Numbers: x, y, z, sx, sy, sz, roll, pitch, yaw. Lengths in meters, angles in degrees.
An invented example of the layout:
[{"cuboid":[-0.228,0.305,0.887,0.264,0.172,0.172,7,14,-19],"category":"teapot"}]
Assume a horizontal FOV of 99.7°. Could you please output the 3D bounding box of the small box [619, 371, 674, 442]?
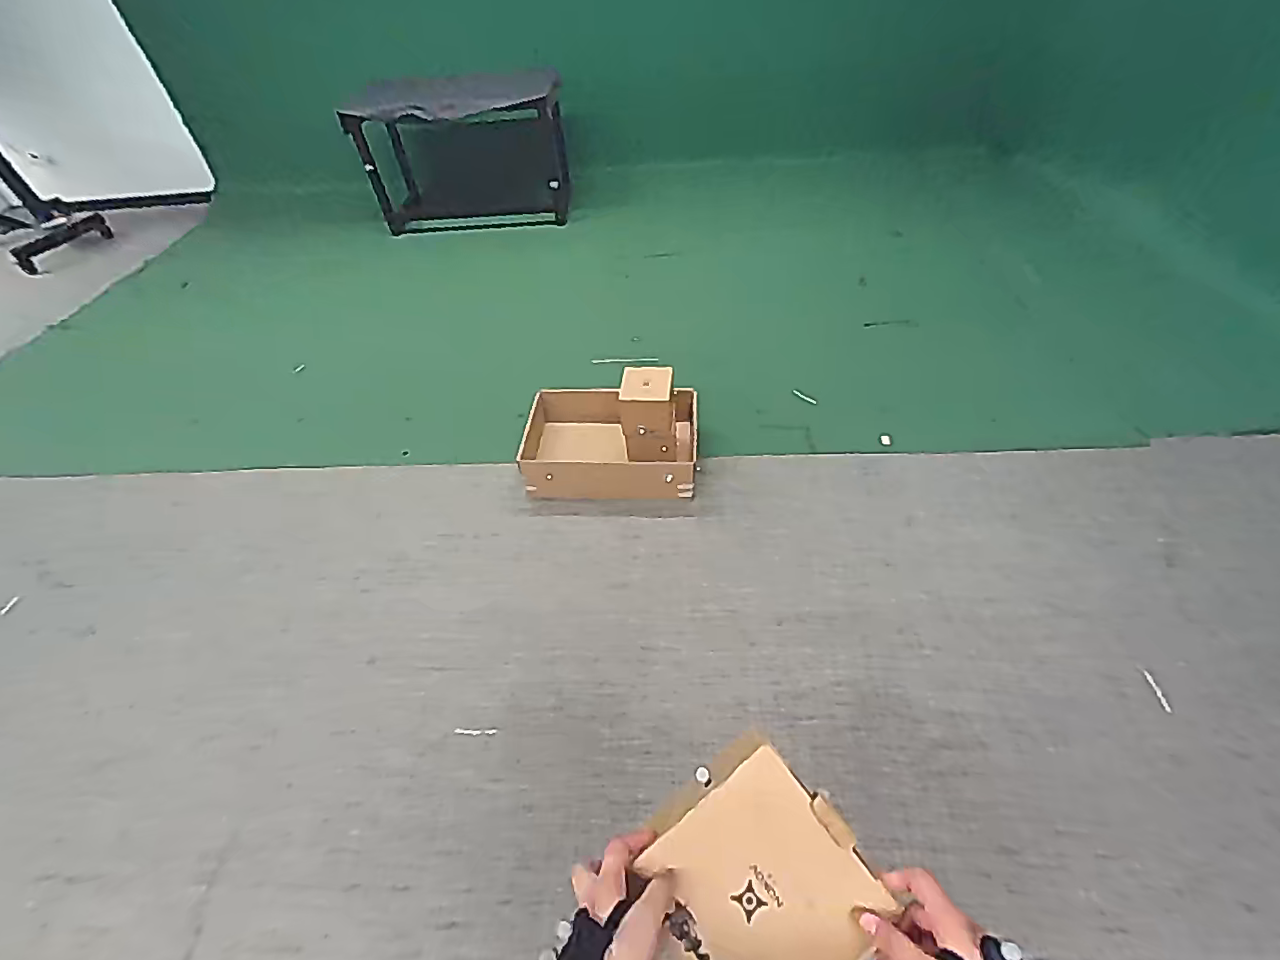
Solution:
[{"cuboid":[0.026,-0.250,1.836,0.168,0.176,0.179,1,49,7],"category":"small box"}]
